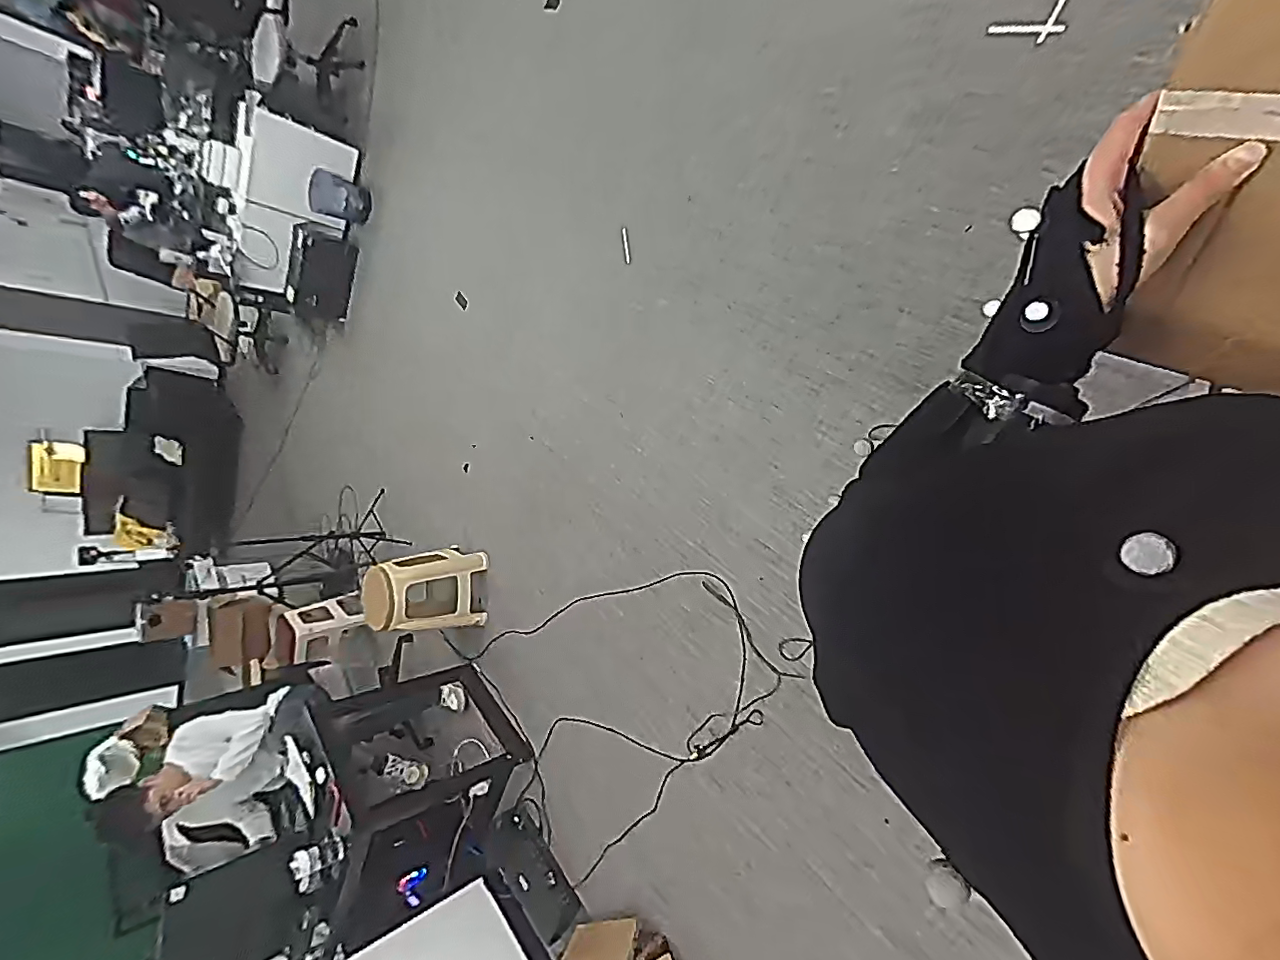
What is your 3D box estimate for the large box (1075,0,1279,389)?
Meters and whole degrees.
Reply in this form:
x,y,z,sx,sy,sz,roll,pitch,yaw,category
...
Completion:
x,y,z,sx,sy,sz,roll,pitch,yaw,category
0.535,-0.217,0.241,0.408,0.320,0.320,33,157,36,large box
